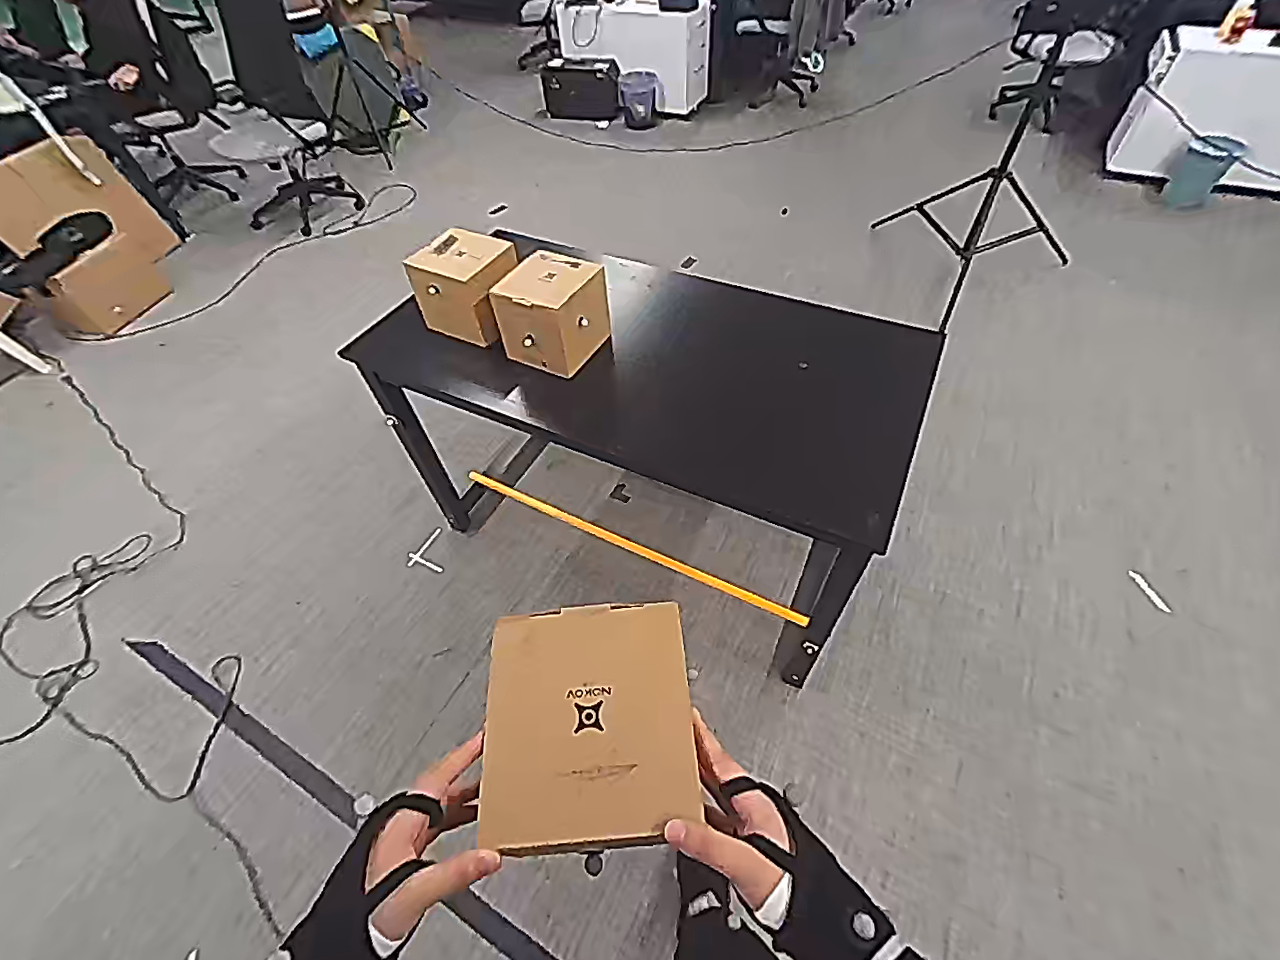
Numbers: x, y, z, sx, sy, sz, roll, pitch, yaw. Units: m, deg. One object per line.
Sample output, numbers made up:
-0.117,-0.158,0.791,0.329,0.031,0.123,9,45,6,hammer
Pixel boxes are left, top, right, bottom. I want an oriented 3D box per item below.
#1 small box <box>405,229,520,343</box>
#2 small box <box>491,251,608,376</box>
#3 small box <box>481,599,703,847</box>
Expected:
-0.381,-0.433,1.216,0.179,0.176,0.168,22,56,18,small box
-0.179,-0.347,1.139,0.168,0.176,0.179,22,57,19,small box
-0.037,0.230,0.505,0.168,0.176,0.179,-5,55,-1,small box
